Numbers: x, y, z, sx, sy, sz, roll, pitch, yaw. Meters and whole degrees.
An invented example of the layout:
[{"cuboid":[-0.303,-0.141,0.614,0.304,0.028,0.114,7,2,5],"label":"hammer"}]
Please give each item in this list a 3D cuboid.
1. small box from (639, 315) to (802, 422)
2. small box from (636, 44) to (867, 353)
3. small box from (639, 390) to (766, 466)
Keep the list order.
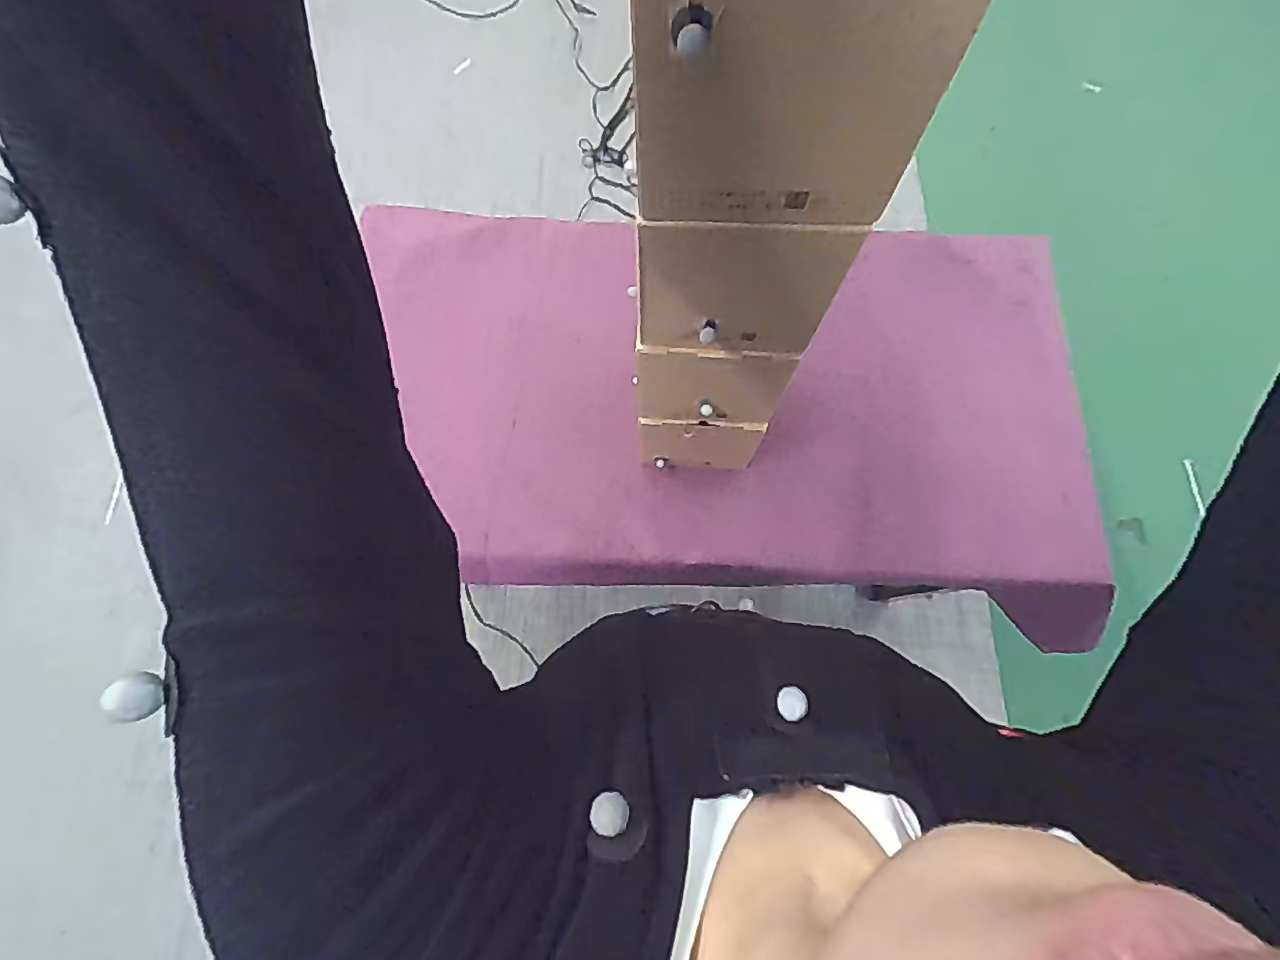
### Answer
[{"cuboid":[0.086,-0.185,0.635,0.168,0.176,0.179,3,73,2],"label":"small box"},{"cuboid":[0.084,-0.237,0.481,0.168,0.176,0.179,3,73,2],"label":"small box"},{"cuboid":[0.089,-0.129,0.789,0.168,0.176,0.179,4,72,2],"label":"small box"}]
